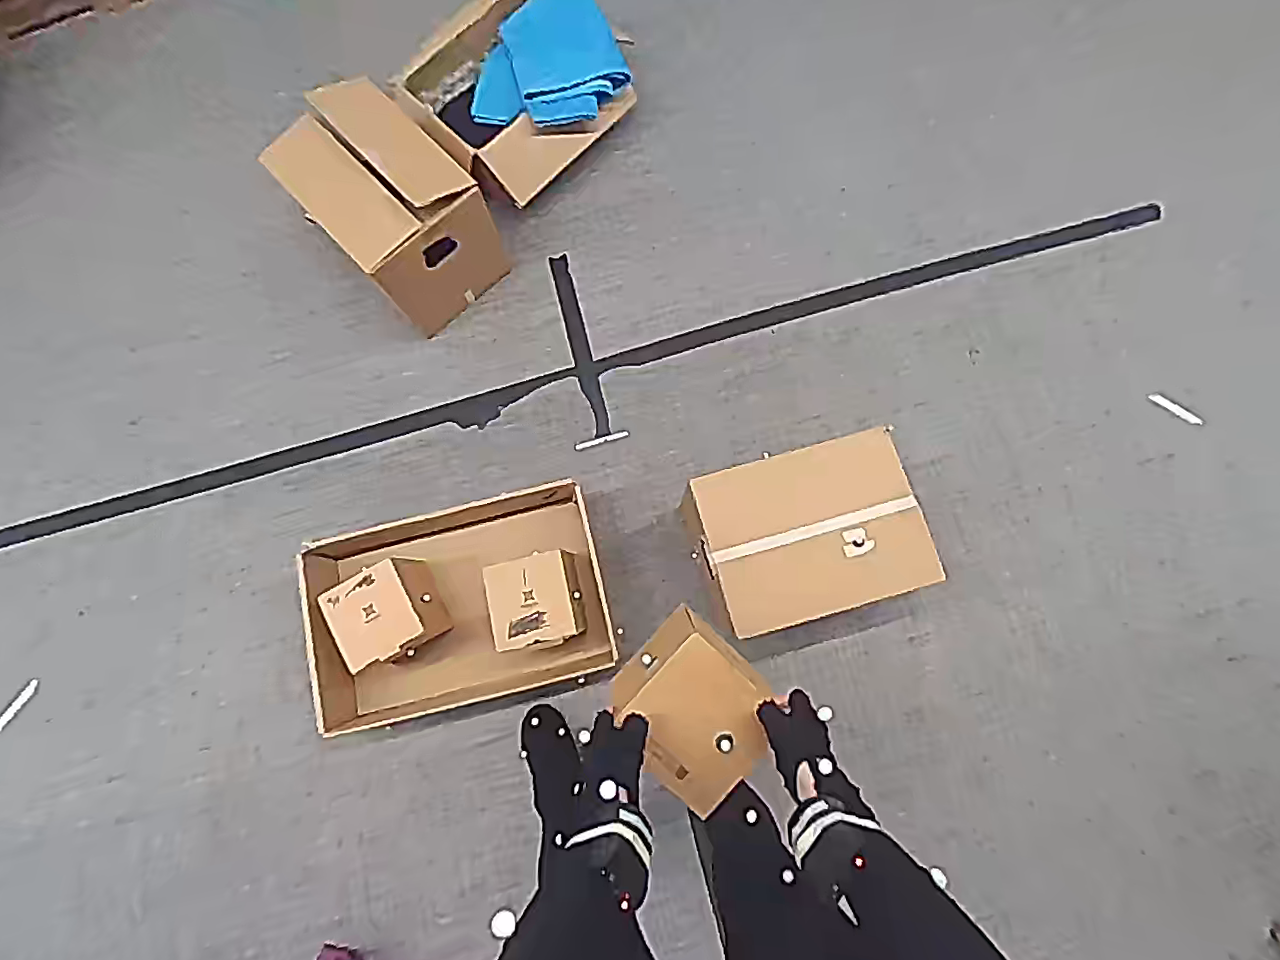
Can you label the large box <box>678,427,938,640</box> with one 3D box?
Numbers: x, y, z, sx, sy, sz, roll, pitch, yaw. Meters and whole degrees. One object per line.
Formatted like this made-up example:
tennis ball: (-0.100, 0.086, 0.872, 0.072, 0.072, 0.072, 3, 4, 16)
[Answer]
large box: (0.323, 0.127, 1.165, 0.408, 0.320, 0.320, -16, 79, -3)
